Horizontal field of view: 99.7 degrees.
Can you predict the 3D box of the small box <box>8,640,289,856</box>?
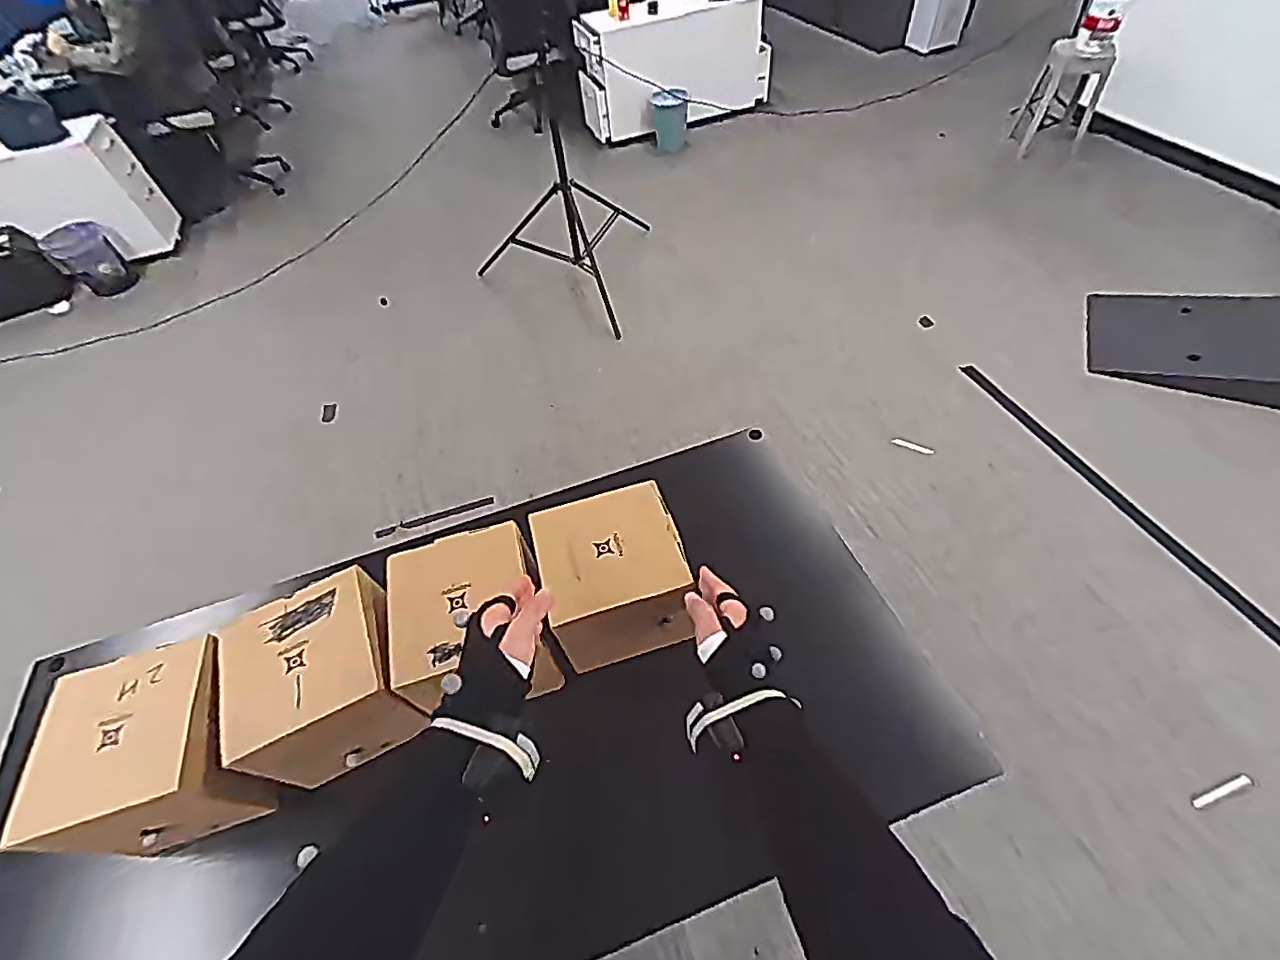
[{"bbox_3d":[-0.555,0.324,0.646,0.168,0.176,0.179,-16,52,-7],"label":"small box"}]
